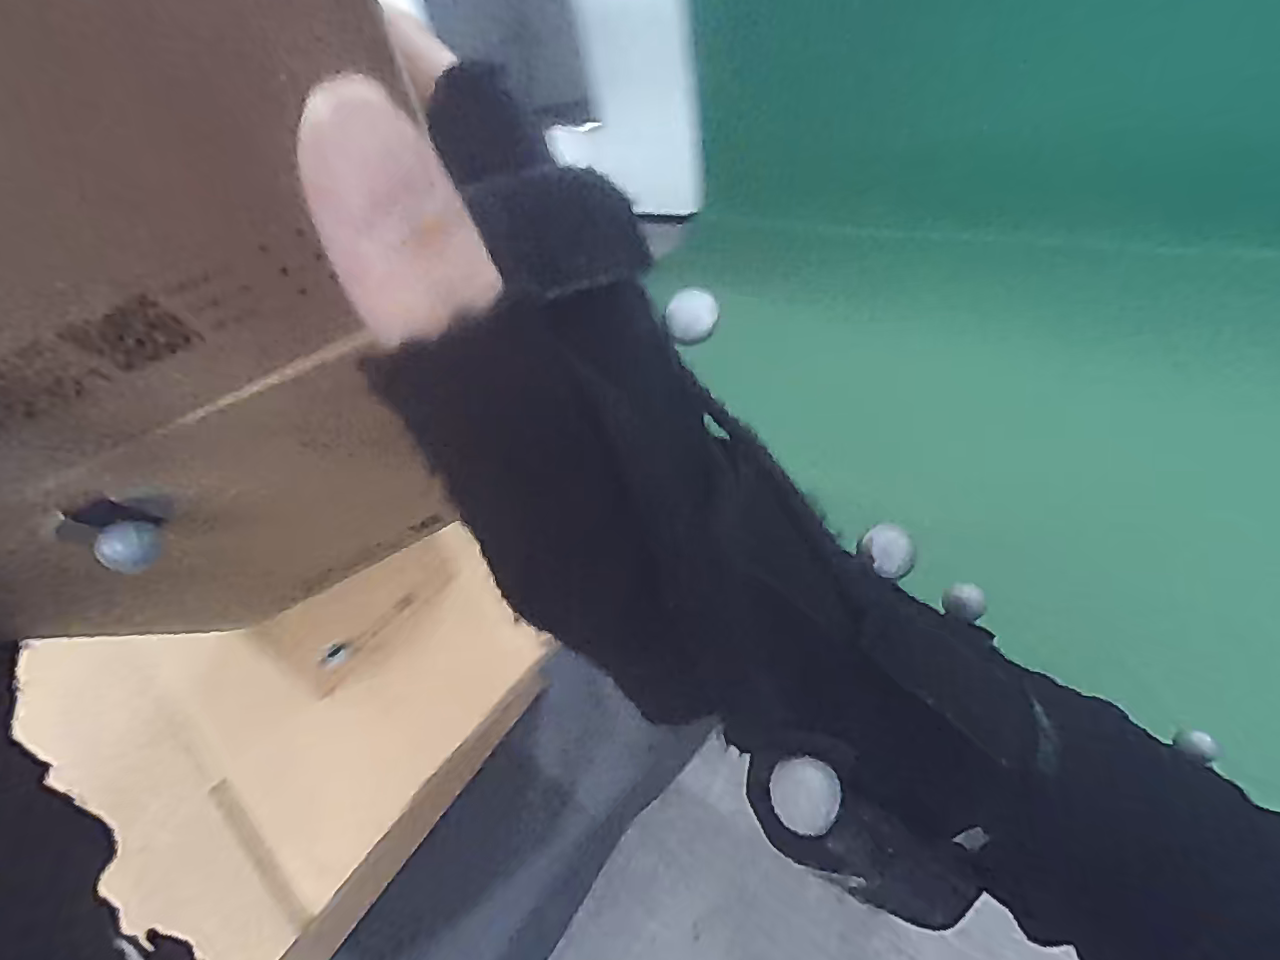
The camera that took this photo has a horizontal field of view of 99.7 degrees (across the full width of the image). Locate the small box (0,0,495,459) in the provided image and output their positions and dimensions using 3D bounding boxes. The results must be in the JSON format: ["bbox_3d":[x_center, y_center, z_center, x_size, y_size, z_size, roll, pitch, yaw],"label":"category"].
[{"bbox_3d":[-0.137,-0.112,0.049,0.168,0.176,0.179,-31,81,-9],"label":"small box"}]
